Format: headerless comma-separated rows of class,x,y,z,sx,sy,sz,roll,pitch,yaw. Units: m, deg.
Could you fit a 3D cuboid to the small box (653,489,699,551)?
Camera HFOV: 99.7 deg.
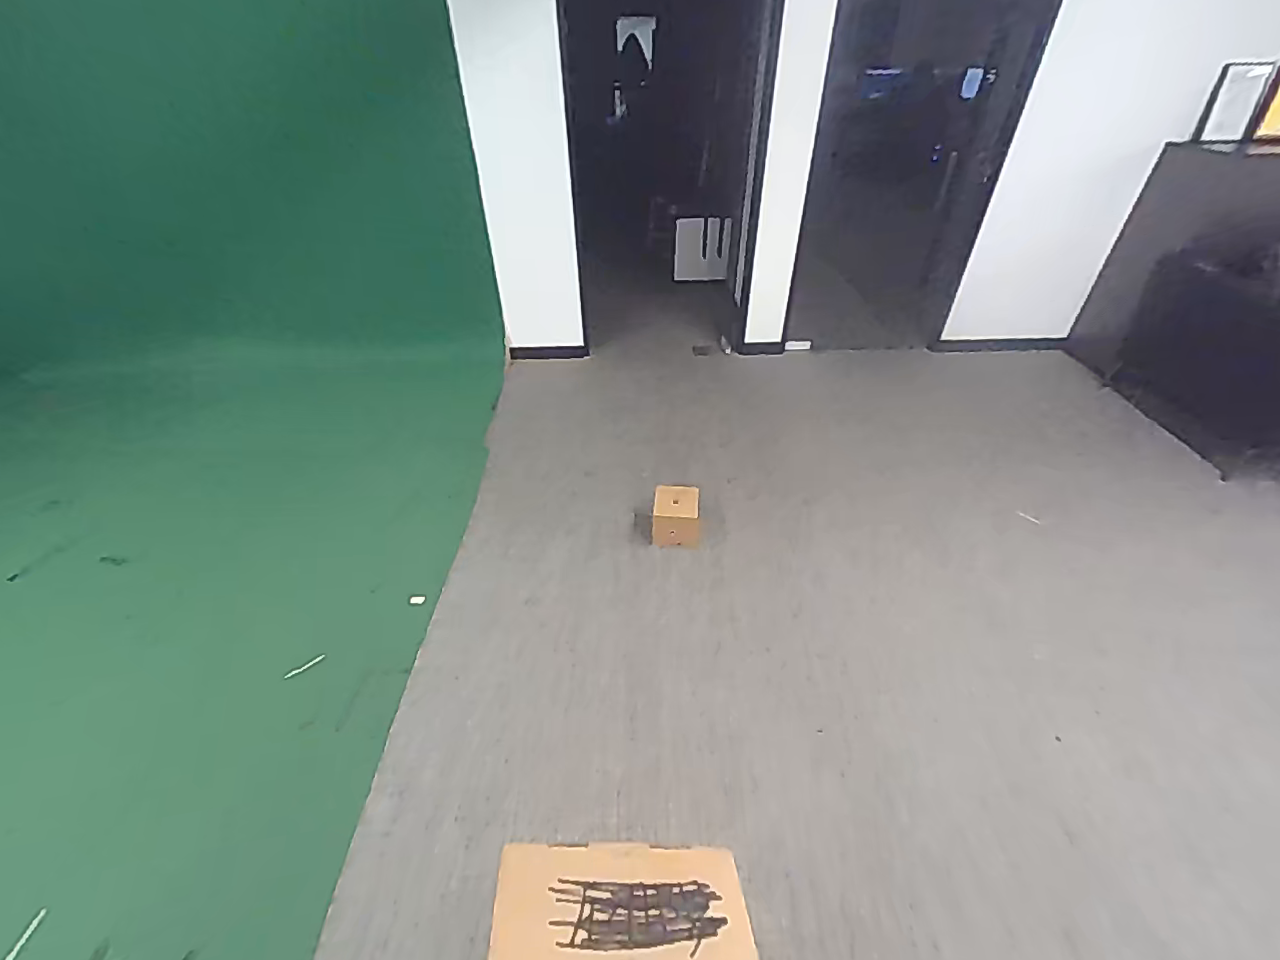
small box,0.140,0.158,2.090,0.168,0.176,0.179,4,39,5
